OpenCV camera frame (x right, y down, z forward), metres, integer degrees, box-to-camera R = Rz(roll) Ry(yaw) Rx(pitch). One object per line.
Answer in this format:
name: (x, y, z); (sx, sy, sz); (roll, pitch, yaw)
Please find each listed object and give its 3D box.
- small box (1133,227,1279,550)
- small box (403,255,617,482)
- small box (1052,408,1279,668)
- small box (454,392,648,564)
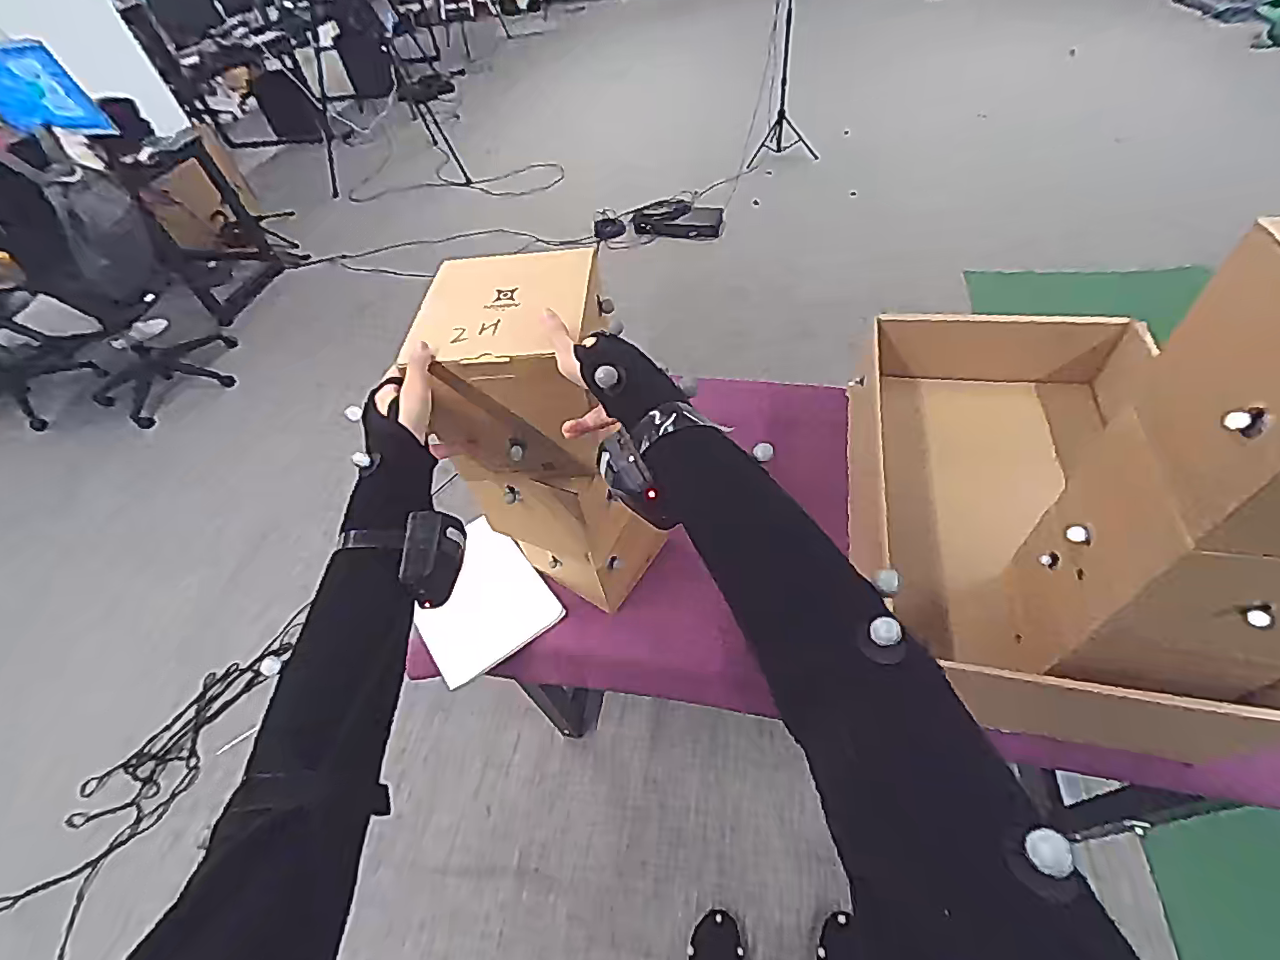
small box: (0.502, -0.055, 0.375); (0.168, 0.176, 0.179); (6, 51, 15)
small box: (-0.120, -0.117, 0.585); (0.168, 0.176, 0.179); (-2, 52, 6)
small box: (0.525, 0.054, 0.494); (0.179, 0.176, 0.168); (5, 51, 16)
small box: (-0.100, -0.012, 0.709); (0.179, 0.176, 0.168); (16, 55, 20)
